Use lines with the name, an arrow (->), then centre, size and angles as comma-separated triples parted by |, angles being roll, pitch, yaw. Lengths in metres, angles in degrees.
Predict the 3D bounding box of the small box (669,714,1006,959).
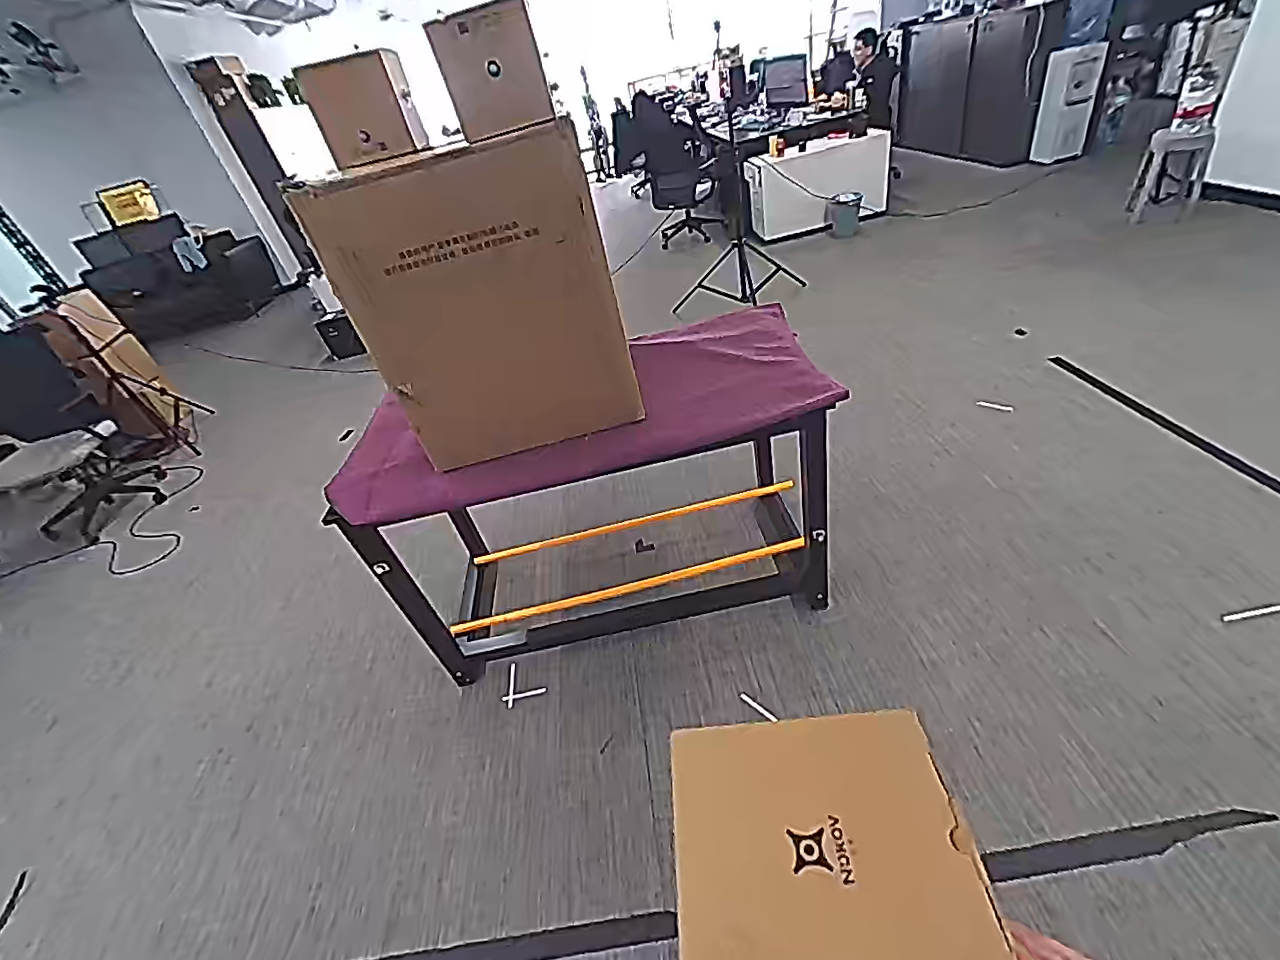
small box -> 0.121, 0.291, 0.380 | 0.179, 0.176, 0.168 | -8, 37, 7

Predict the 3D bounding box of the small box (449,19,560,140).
small box -> -0.272, -0.825, 1.126 | 0.168, 0.176, 0.179 | -14, 37, 3
